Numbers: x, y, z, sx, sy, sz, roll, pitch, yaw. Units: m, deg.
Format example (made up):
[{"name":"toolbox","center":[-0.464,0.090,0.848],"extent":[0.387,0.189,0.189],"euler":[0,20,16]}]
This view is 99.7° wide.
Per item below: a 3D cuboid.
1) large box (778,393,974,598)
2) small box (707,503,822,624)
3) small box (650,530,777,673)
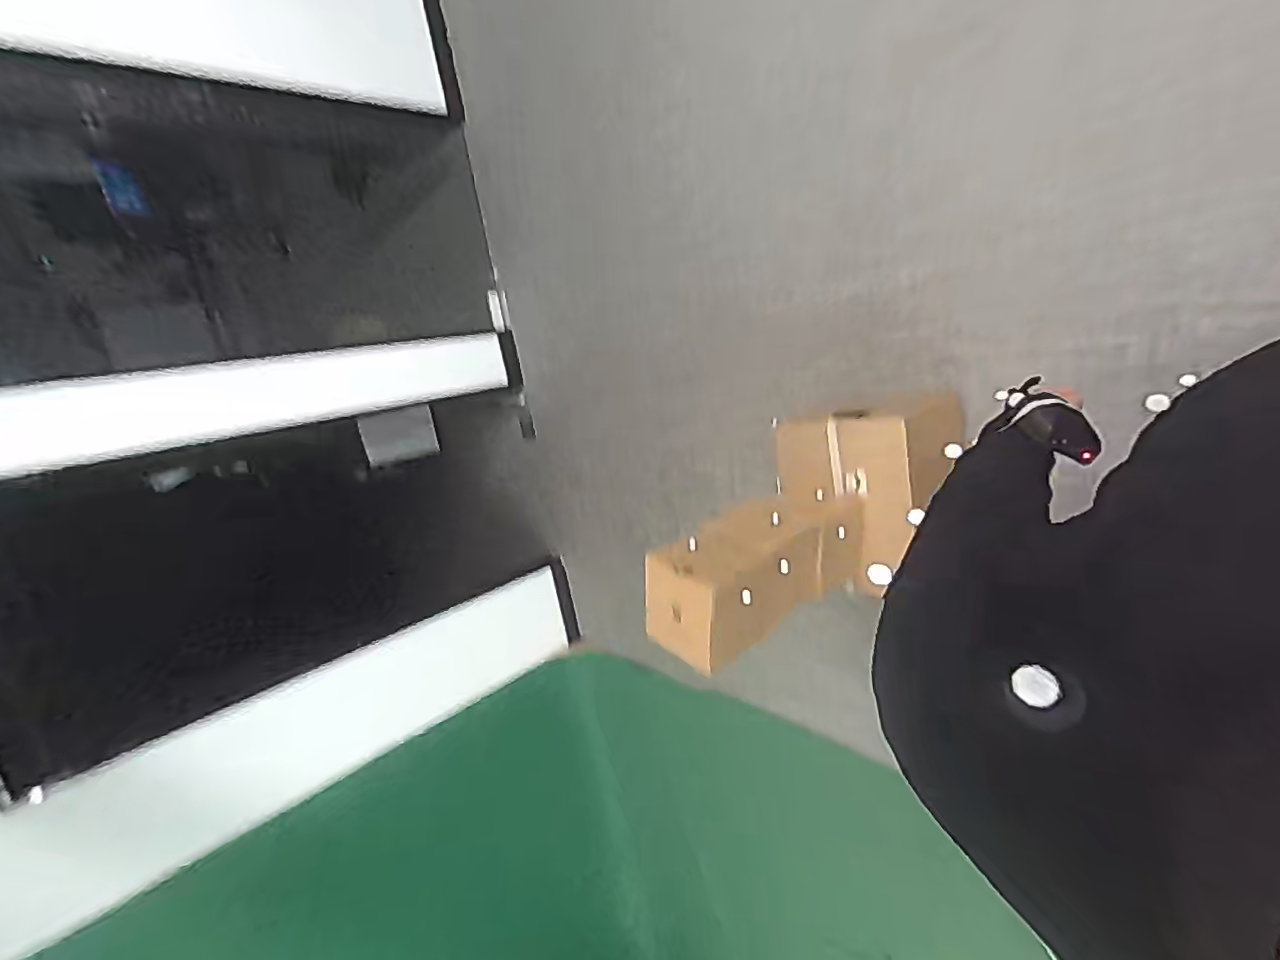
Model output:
[{"name":"large box","center":[0.575,0.021,1.309],"extent":[0.320,0.320,0.408],"euler":[2,106,49]},{"name":"small box","center":[0.252,0.166,1.101],"extent":[0.168,0.176,0.179],"euler":[19,118,46]},{"name":"small box","center":[0.135,0.210,0.997],"extent":[0.168,0.176,0.179],"euler":[21,120,46]}]
